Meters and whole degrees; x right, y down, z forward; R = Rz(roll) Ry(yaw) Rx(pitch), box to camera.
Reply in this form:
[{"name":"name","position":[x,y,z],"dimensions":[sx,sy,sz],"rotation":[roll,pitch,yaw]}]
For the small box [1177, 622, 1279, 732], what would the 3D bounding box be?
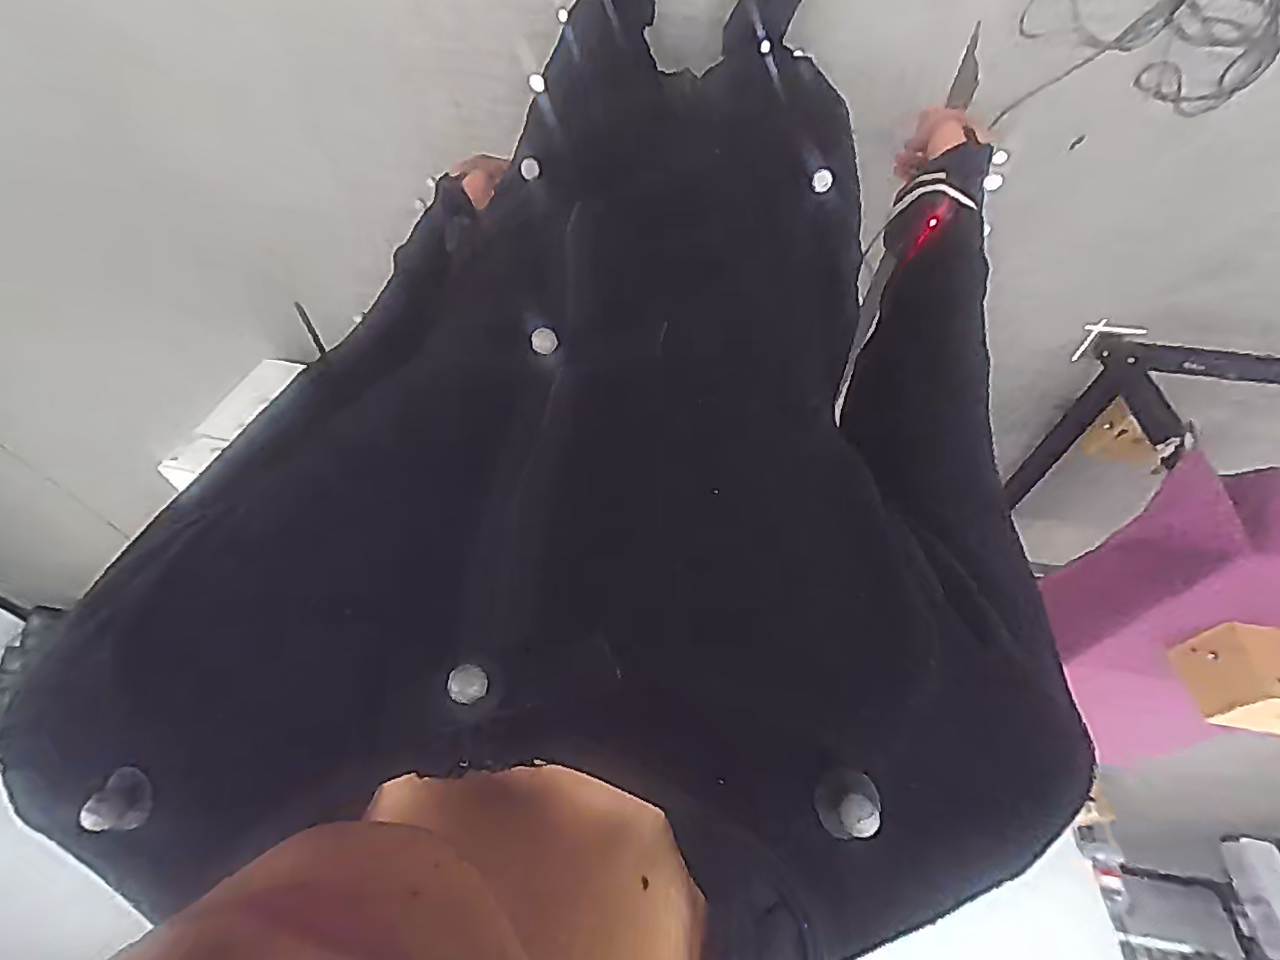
[{"name":"small box","position":[1.340,0.423,1.163],"dimensions":[0.179,0.176,0.168],"rotation":[8,140,5]}]
